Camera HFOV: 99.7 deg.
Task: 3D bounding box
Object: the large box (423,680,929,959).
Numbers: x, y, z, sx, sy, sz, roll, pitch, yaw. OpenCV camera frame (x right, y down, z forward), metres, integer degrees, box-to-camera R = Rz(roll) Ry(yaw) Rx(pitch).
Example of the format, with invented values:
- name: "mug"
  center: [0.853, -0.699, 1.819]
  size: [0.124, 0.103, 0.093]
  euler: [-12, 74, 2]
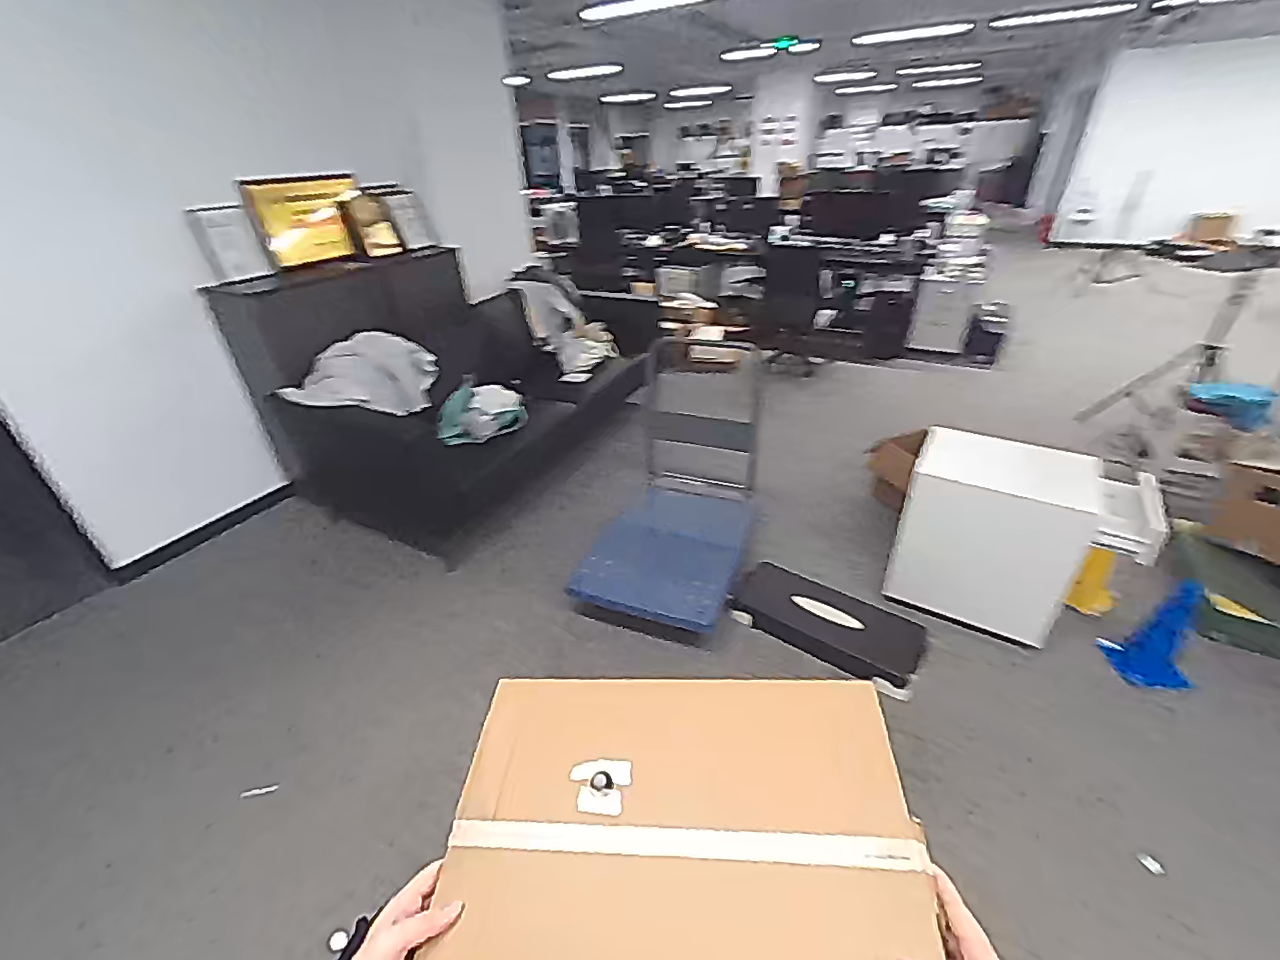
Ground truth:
- name: "large box"
  center: [0.049, 0.437, 0.570]
  size: [0.408, 0.320, 0.320]
  euler: [-5, 39, 10]
